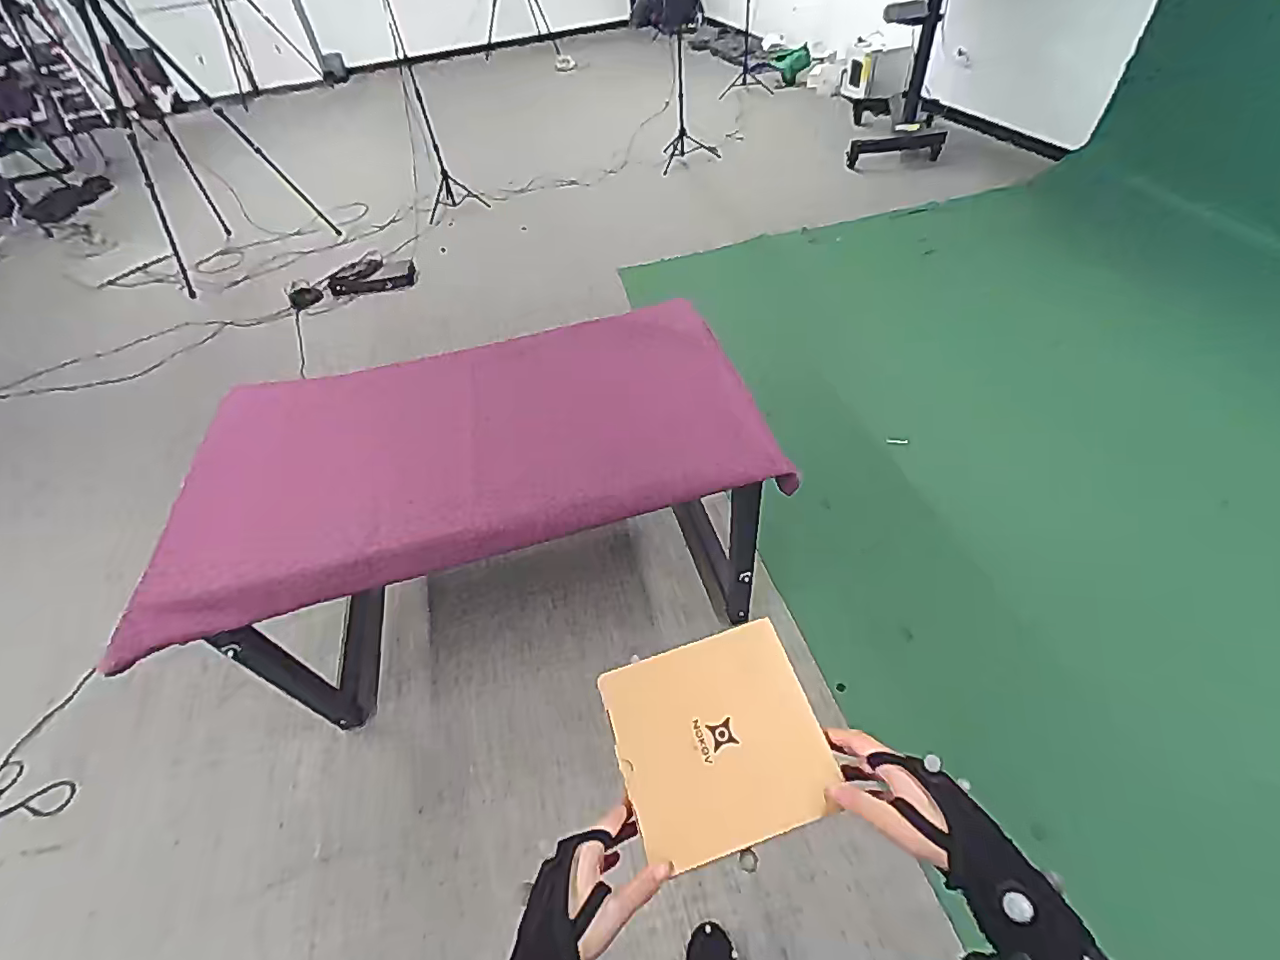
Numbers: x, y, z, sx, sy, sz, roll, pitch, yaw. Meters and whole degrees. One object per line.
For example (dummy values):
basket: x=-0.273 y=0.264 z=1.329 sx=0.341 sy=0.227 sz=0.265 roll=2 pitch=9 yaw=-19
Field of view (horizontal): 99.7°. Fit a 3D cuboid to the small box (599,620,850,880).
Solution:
small box: x=0.074 y=0.264 z=0.540 sx=0.179 sy=0.176 sz=0.168 roll=-19 pitch=58 yaw=-4
